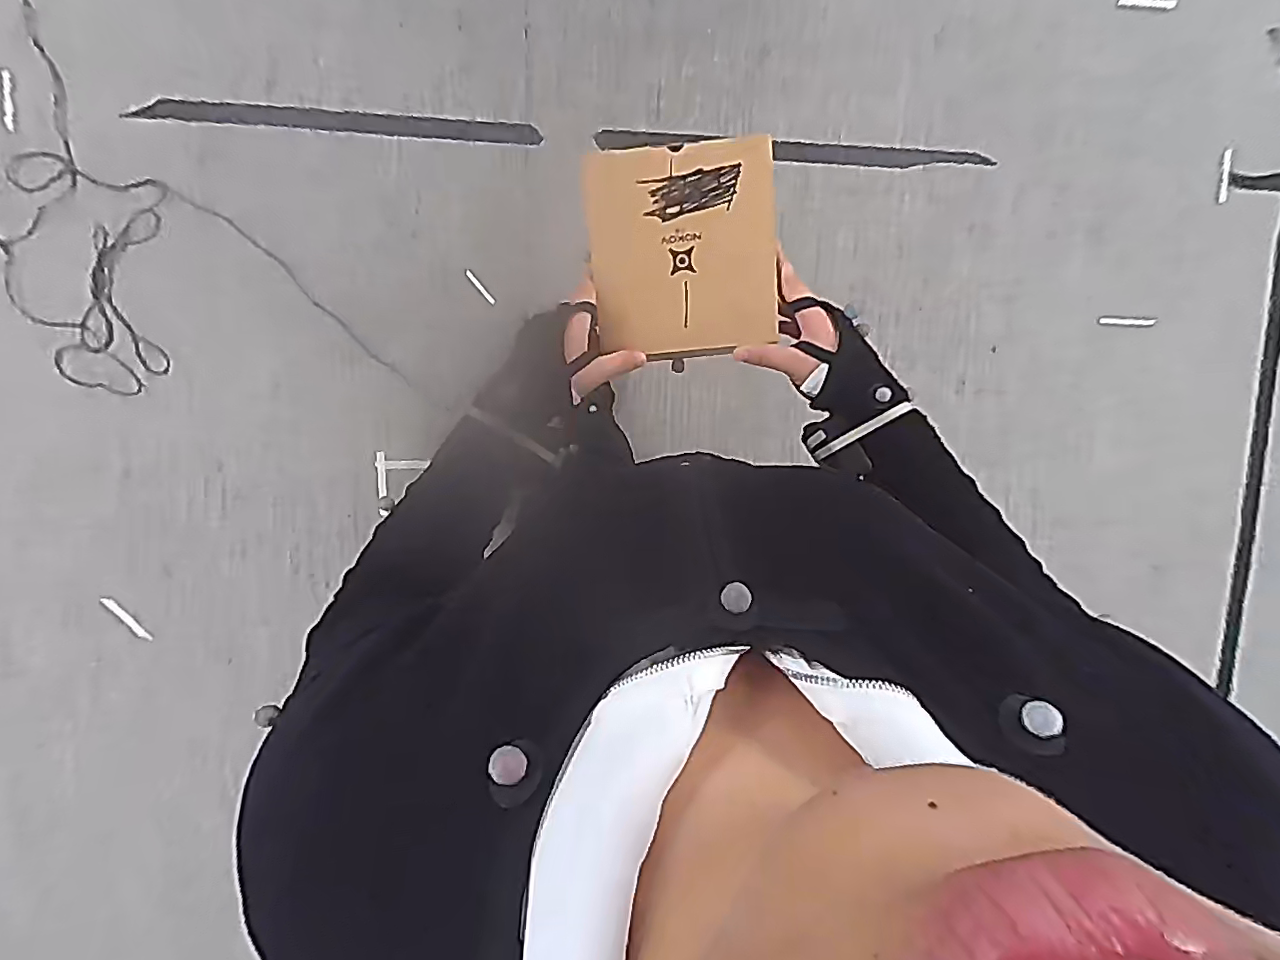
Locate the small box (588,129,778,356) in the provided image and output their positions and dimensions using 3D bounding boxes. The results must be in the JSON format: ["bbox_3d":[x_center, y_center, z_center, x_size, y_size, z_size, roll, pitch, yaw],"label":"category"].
[{"bbox_3d":[0.040,-0.227,0.562,0.168,0.176,0.179,-4,100,2],"label":"small box"}]
